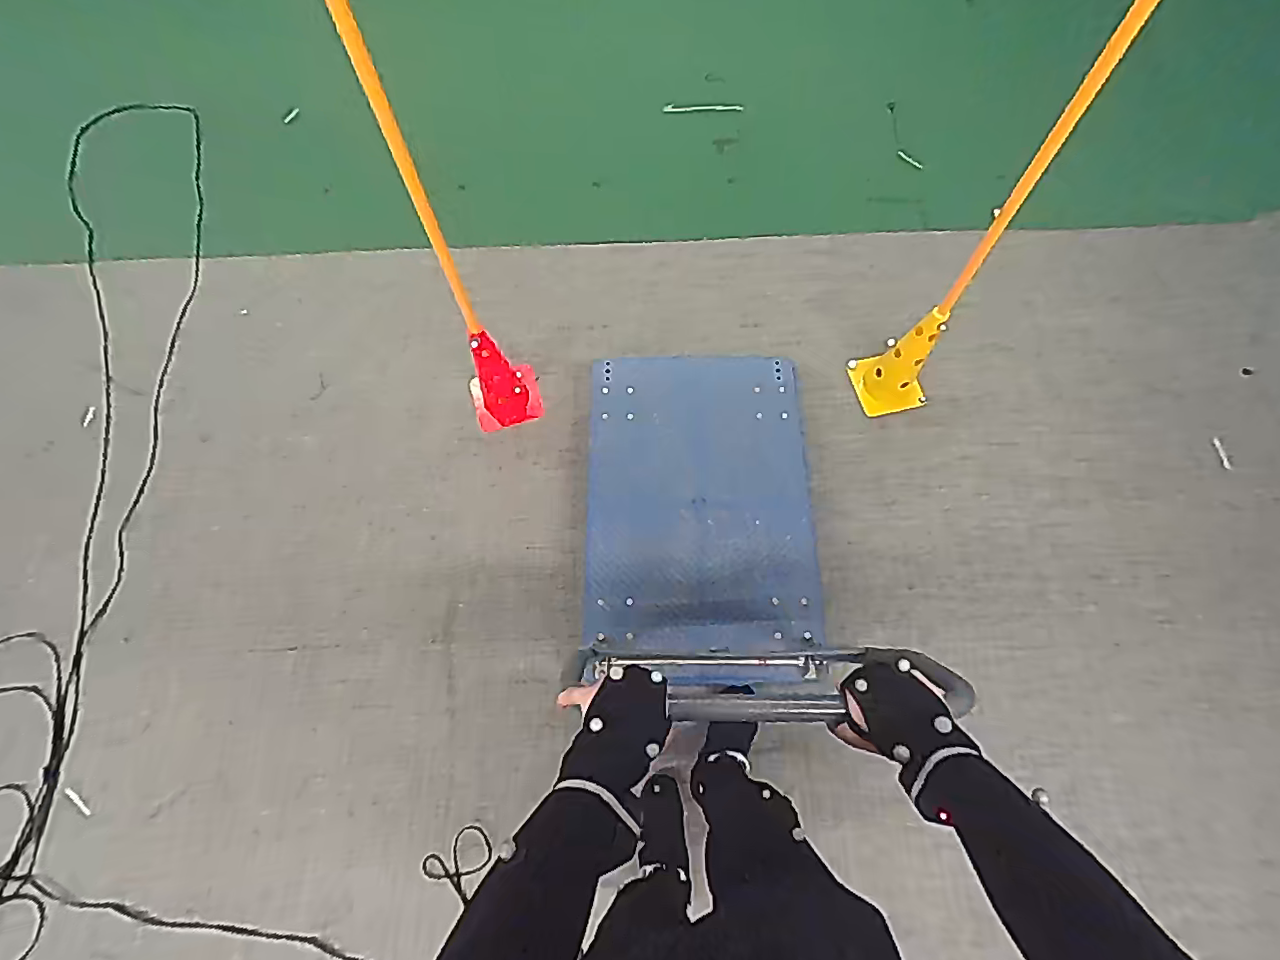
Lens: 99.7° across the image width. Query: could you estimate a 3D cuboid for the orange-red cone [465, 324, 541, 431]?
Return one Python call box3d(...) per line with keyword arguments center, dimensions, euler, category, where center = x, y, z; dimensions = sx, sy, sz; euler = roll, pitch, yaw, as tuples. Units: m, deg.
box3d(center=(-0.420, -0.314, 1.519), dimensions=(0.199, 0.360, 0.198), euler=(-16, 70, -4), category="orange-red cone")
